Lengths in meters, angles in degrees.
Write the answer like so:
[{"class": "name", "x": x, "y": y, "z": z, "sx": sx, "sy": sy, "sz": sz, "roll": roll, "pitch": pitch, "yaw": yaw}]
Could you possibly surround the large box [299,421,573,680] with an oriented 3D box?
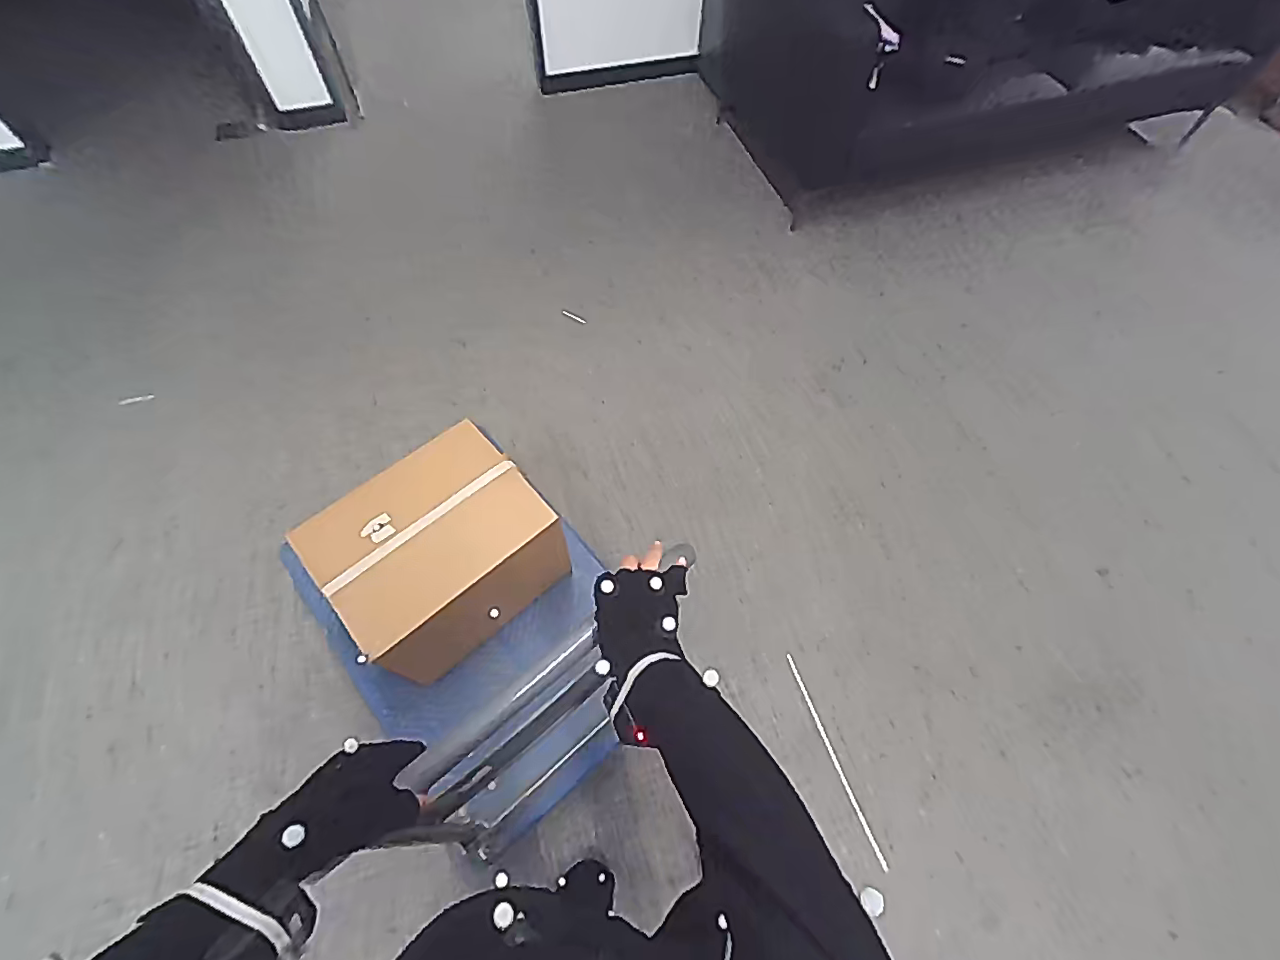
[{"class": "large box", "x": -0.399, "y": 0.158, "z": 1.161, "sx": 0.408, "sy": 0.320, "sz": 0.320, "roll": -39, "pitch": 69, "yaw": -19}]
